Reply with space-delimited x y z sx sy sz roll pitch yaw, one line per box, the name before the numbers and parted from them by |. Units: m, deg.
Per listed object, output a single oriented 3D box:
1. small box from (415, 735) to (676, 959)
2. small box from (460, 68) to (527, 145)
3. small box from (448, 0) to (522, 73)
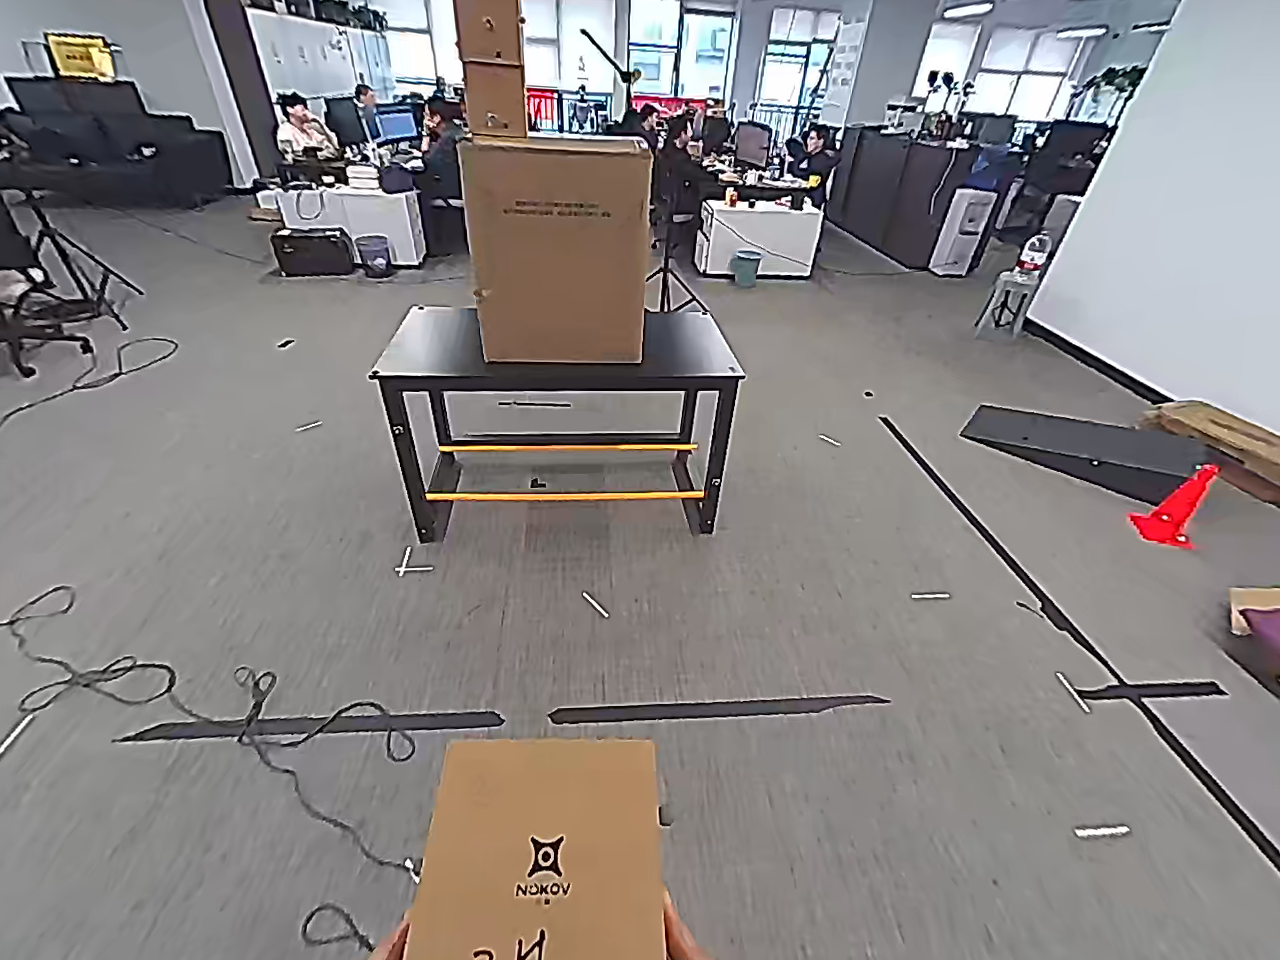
small box | -0.067 0.325 0.430 0.168 0.176 0.179 2 44 -5
small box | -0.418 -1.082 1.566 0.168 0.176 0.179 -4 37 -9
small box | -0.410 -1.205 1.457 0.168 0.176 0.179 -3 37 -8
